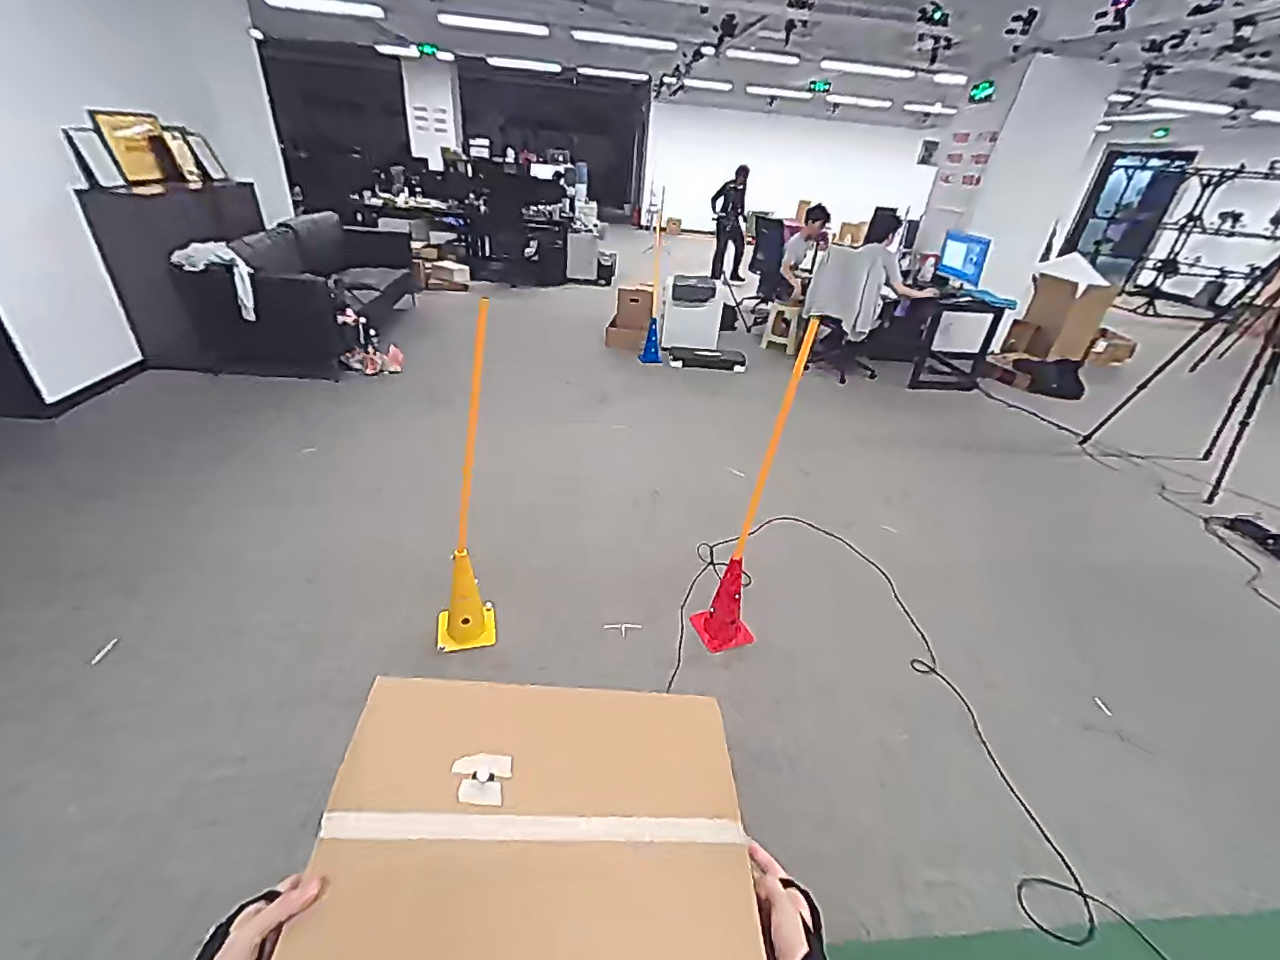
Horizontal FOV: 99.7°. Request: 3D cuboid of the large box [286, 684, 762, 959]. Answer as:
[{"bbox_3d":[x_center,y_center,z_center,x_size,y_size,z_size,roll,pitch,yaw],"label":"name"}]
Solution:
[{"bbox_3d":[-0.116,0.463,0.618,0.408,0.320,0.320,6,35,-8],"label":"large box"}]
